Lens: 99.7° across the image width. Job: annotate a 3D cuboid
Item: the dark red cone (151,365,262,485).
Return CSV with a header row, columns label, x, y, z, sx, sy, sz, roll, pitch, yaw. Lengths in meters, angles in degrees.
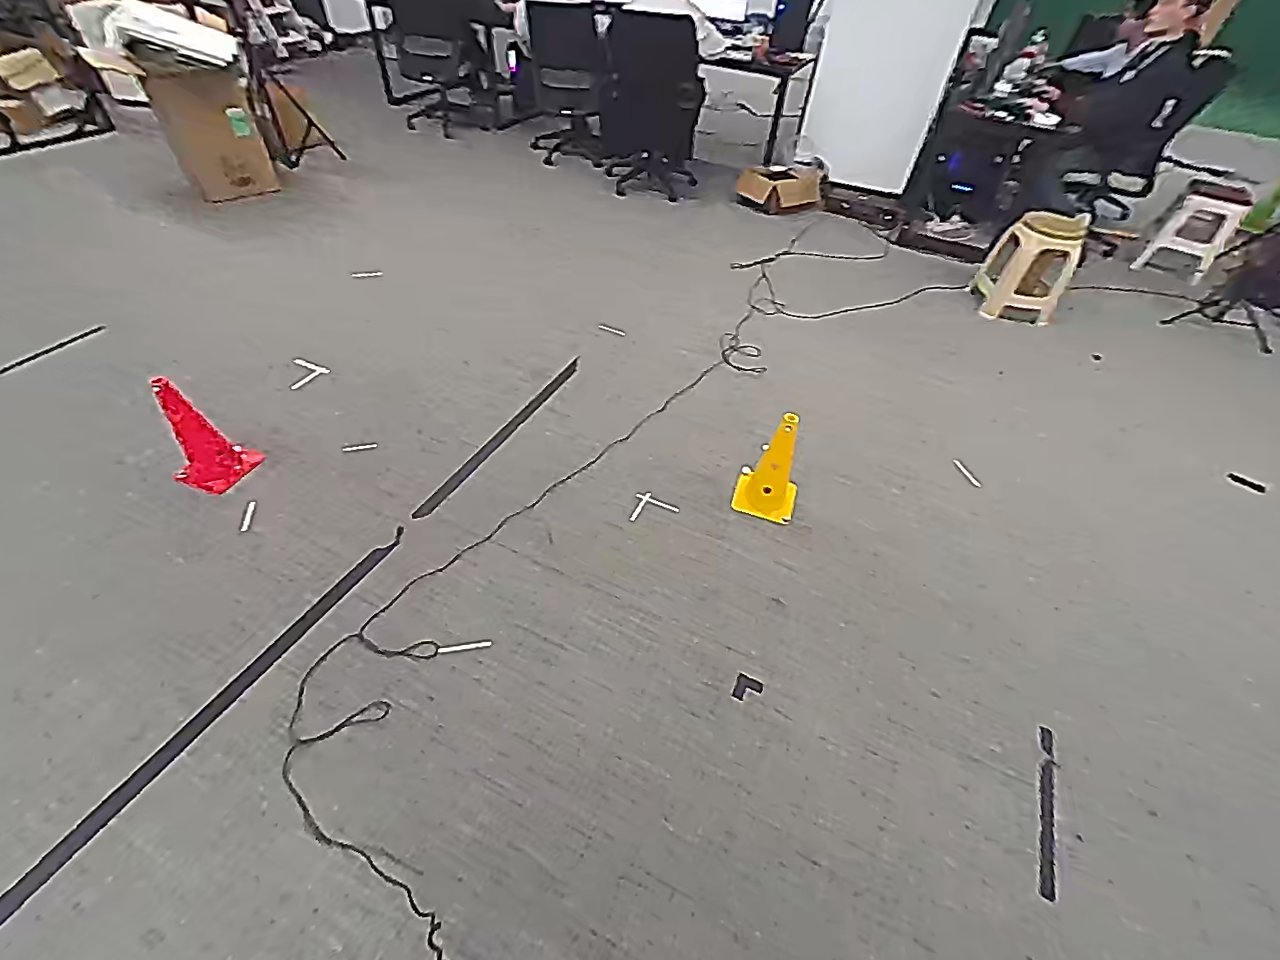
label,x,y,z,sx,sy,sz,roll,pitch,yaw
dark red cone,-1.386,-0.182,1.671,0.201,0.394,0.202,17,47,9
